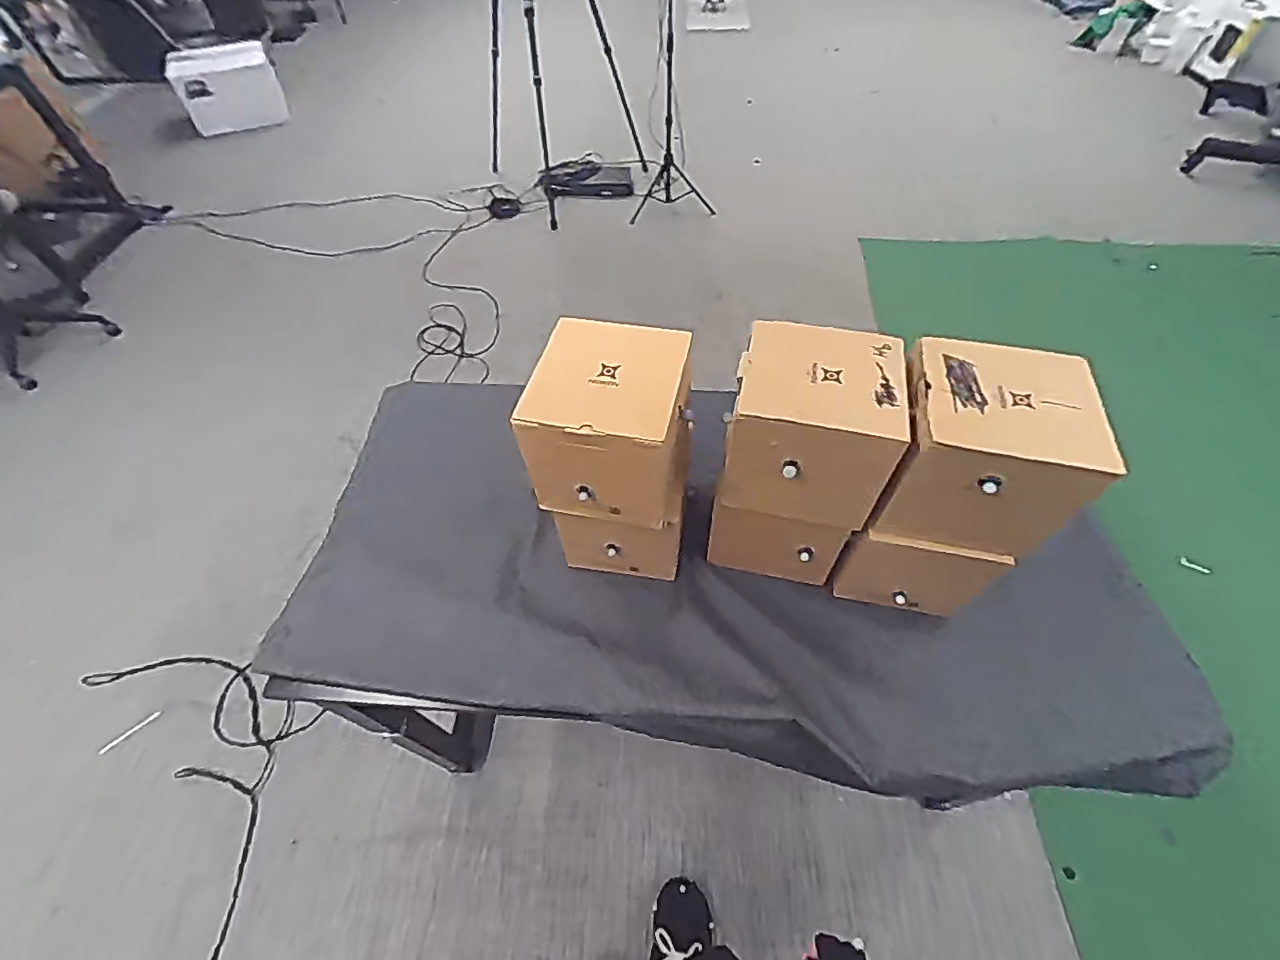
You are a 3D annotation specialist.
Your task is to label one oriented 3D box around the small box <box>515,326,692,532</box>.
[{"bbox_3d":[-0.034,-0.062,0.670,0.168,0.176,0.179,9,55,9],"label":"small box"}]
